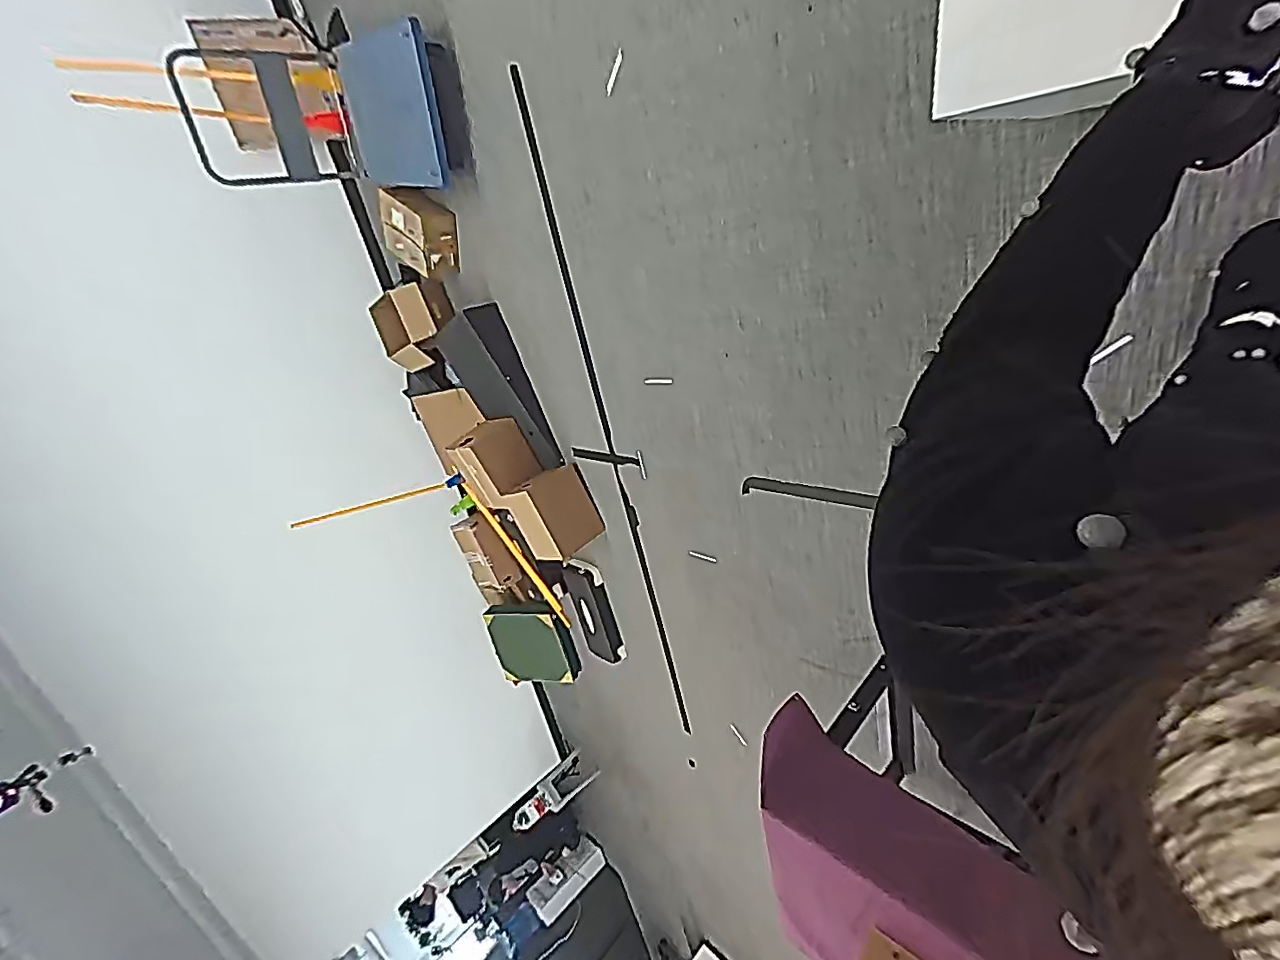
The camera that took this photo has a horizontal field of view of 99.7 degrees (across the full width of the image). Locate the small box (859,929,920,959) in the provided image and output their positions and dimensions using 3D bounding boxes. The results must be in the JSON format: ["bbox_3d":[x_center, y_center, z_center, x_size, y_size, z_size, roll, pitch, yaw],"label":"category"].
[{"bbox_3d":[0.587,1.194,1.234,0.168,0.176,0.179,12,123,47],"label":"small box"}]
